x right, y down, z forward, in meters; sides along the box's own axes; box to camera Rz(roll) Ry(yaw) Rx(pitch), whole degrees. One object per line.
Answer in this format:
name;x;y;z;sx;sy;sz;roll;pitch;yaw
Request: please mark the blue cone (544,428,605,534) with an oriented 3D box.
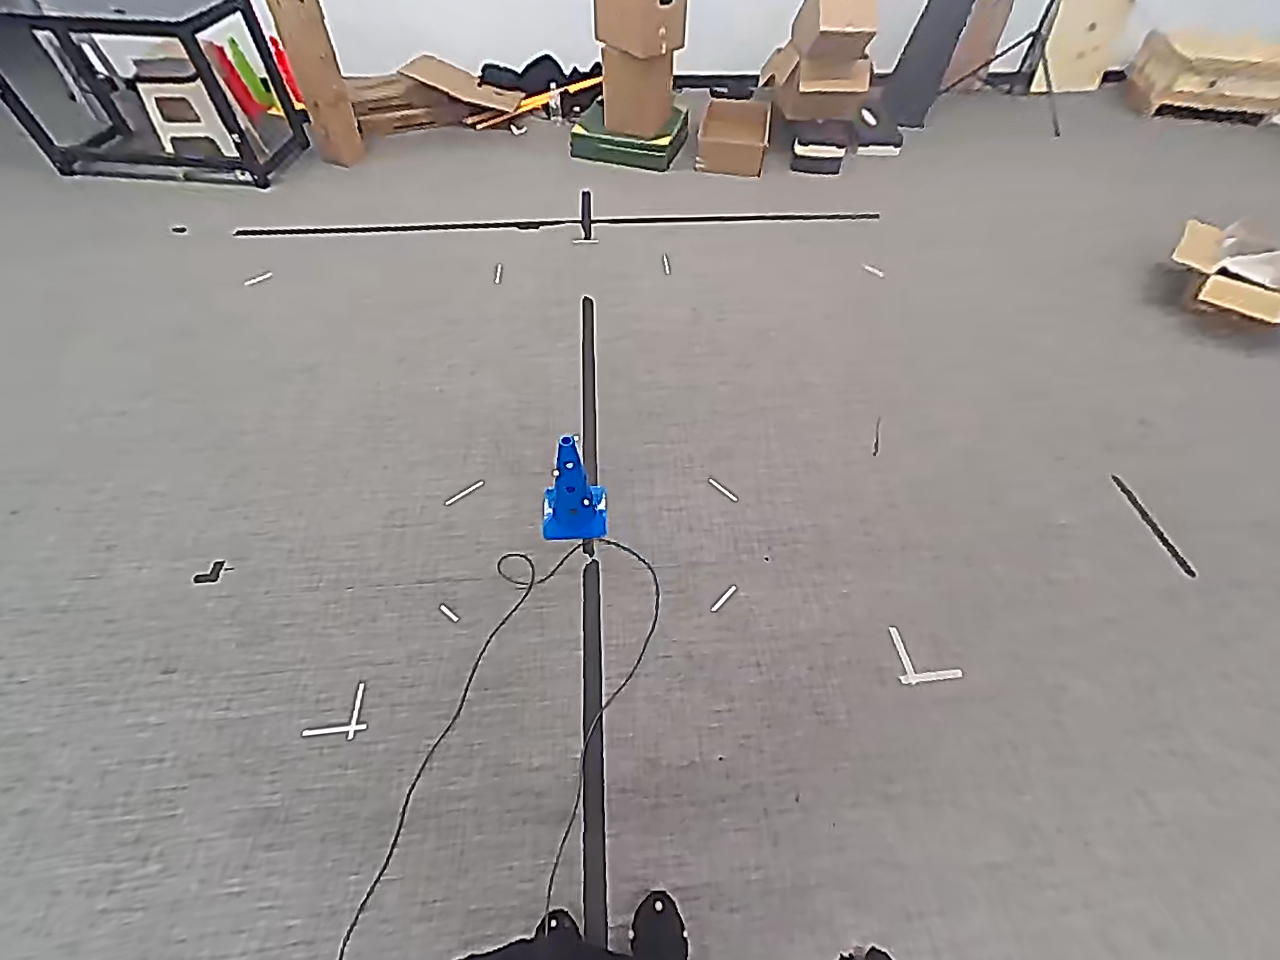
blue cone;-0.207;-0.009;1.597;0.193;0.380;0.192;-3;54;-4
